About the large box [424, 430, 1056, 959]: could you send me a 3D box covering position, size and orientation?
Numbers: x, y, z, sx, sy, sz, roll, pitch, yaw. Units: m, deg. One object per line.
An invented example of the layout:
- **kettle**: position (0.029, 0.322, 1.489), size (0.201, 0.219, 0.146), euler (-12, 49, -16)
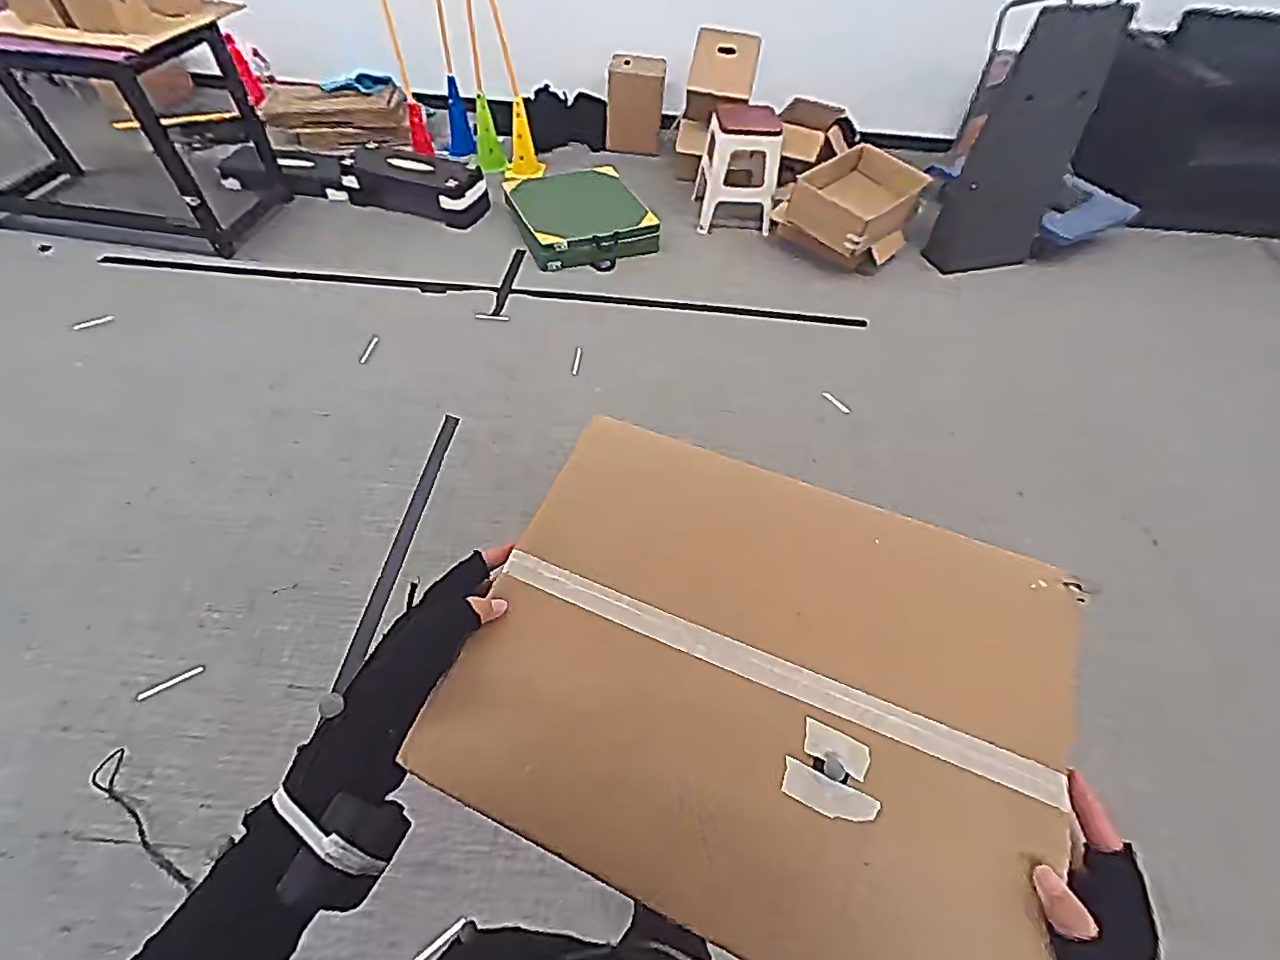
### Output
- **large box**: position (0.090, 0.208, 0.531), size (0.408, 0.320, 0.320), euler (20, 64, 13)
